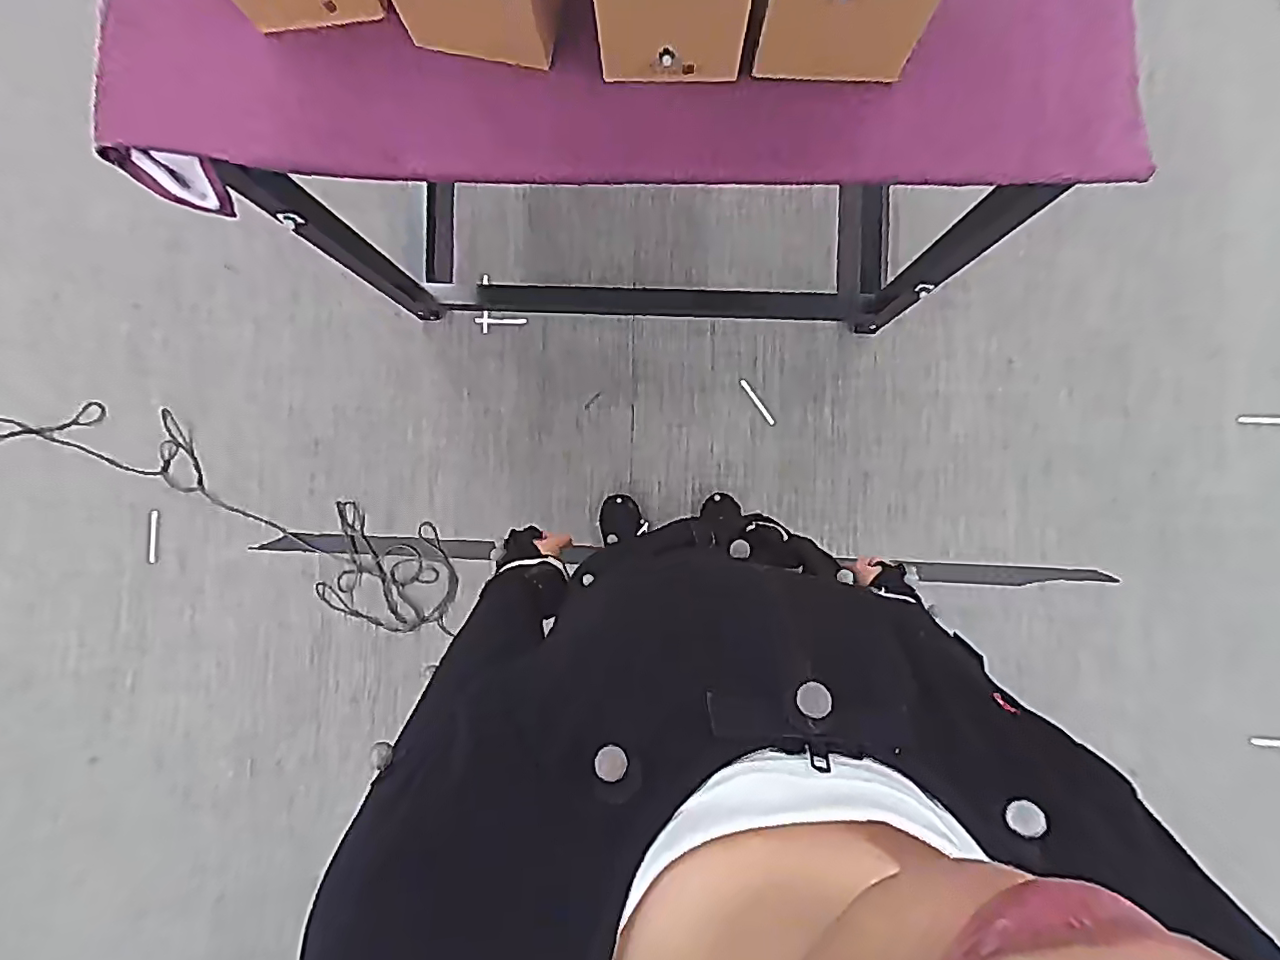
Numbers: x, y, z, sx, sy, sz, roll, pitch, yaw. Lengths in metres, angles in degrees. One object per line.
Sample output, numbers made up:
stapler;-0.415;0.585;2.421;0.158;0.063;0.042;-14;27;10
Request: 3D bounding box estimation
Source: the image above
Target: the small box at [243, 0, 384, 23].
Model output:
small box;-0.410;-0.662;0.608;0.168;0.176;0.179;-6;90;2
